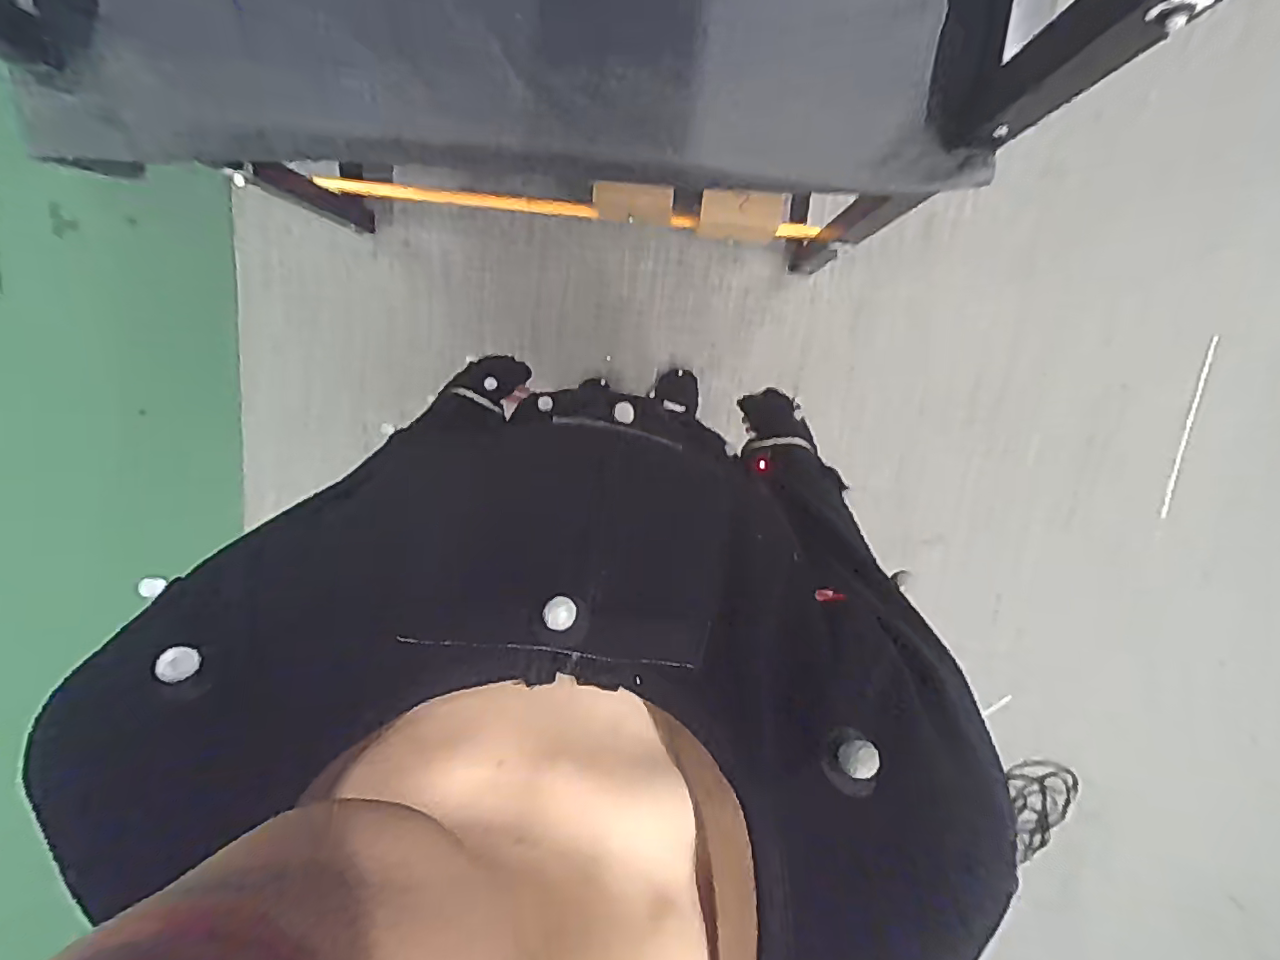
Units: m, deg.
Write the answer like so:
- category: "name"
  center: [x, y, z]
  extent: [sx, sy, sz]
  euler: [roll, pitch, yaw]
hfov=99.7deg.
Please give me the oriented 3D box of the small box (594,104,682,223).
- category: "small box"
  center: [-0.002, -0.665, 1.157]
  extent: [0.168, 0.176, 0.179]
  euler: [6, 102, 1]
